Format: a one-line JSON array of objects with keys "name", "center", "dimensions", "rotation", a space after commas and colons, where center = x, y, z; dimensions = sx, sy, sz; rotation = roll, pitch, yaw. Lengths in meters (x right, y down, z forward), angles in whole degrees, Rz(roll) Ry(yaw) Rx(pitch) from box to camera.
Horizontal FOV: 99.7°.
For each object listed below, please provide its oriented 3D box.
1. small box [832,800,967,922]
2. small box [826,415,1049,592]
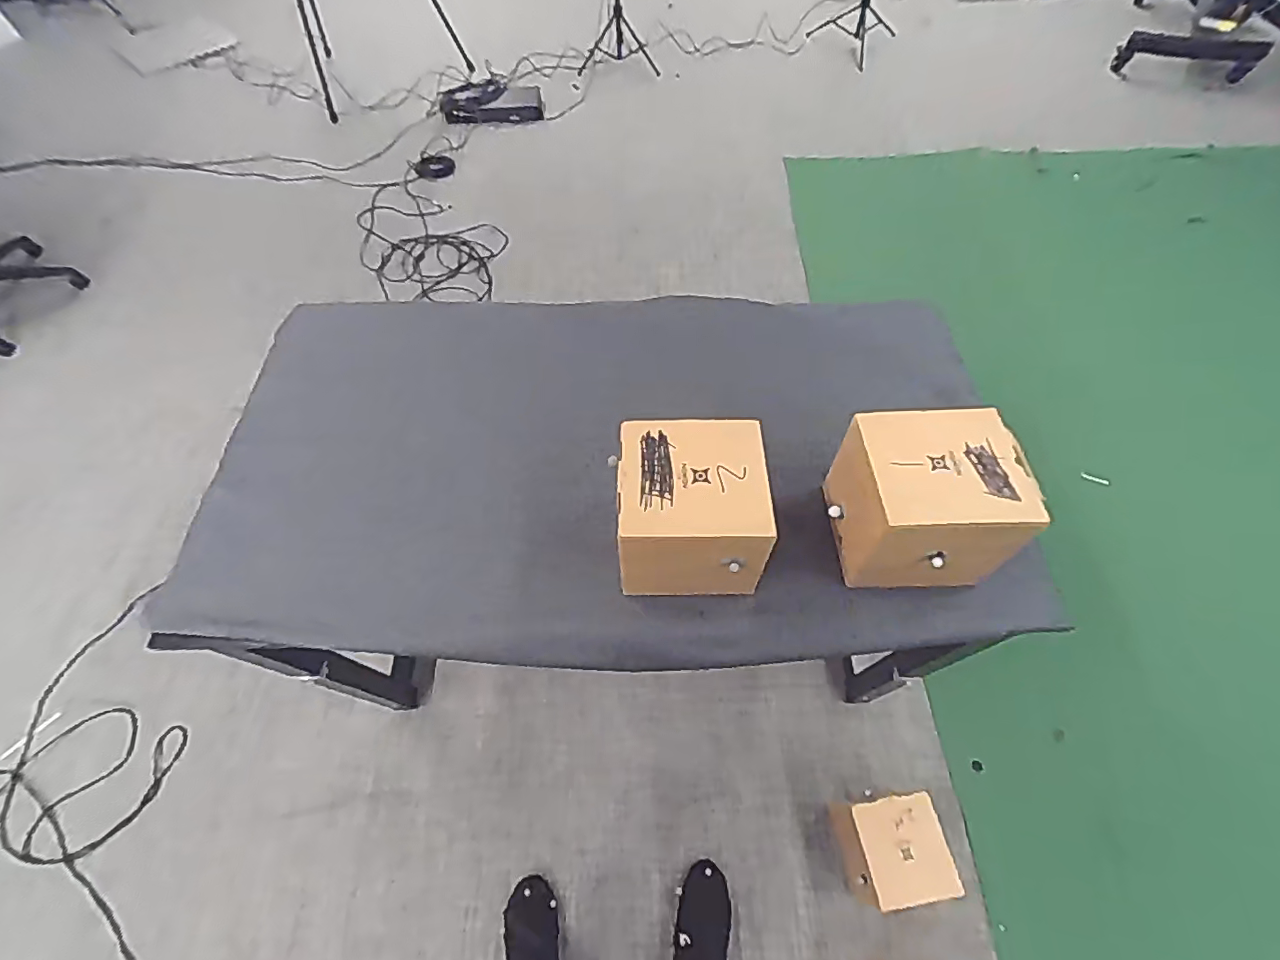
[{"name": "small box", "center": [0.516, 0.765, 1.103], "dimensions": [0.168, 0.176, 0.179], "rotation": [-8, 59, -3]}, {"name": "small box", "center": [0.356, 0.035, 0.689], "dimensions": [0.179, 0.176, 0.168], "rotation": [-1, 55, 2]}]
